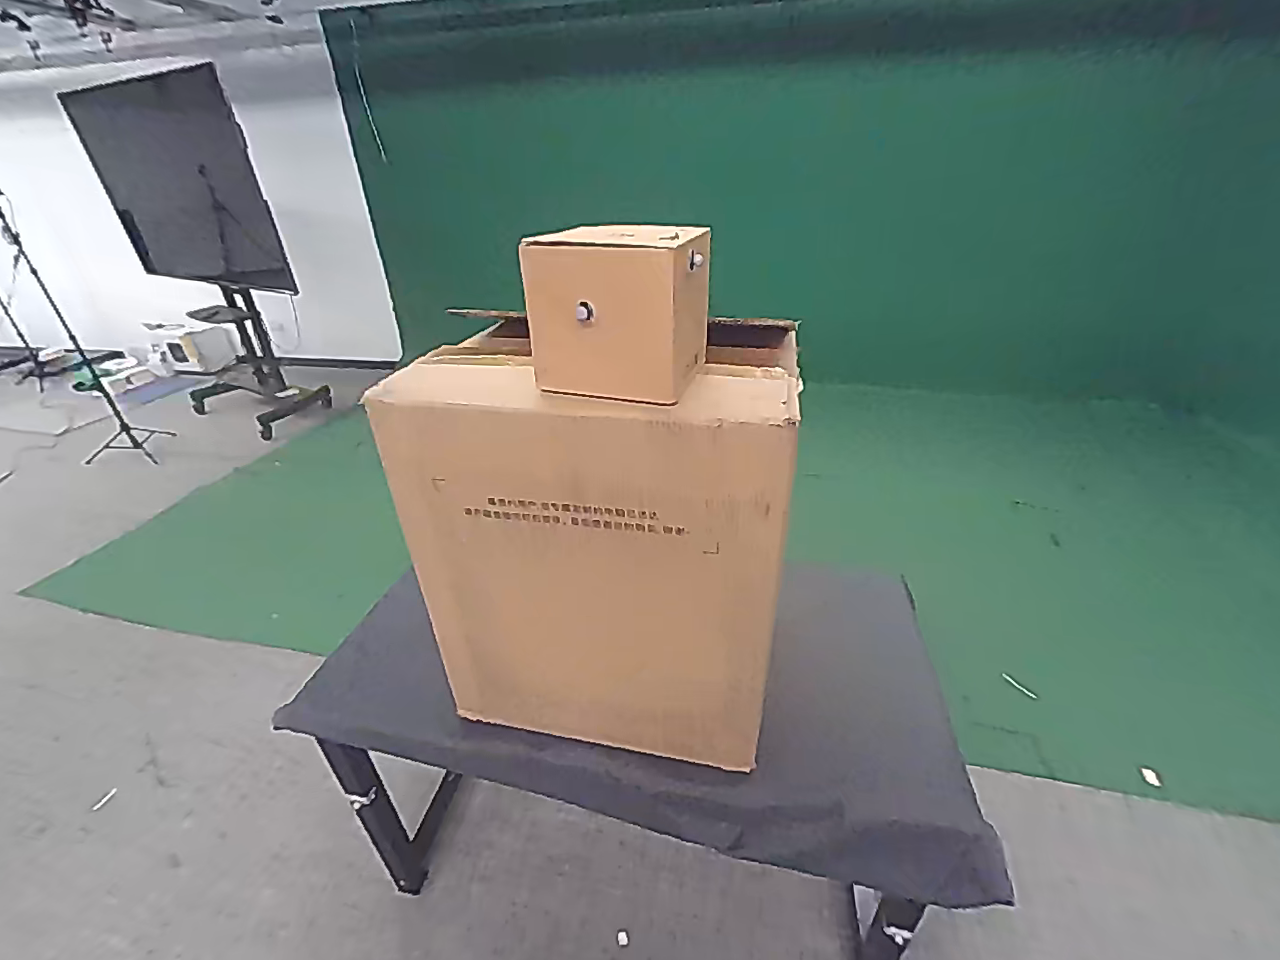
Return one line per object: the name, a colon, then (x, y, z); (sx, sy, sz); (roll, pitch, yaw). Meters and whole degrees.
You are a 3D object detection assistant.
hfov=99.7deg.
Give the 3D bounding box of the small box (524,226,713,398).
small box: (-0.016, -0.209, 0.660); (0.179, 0.176, 0.168); (9, 33, 17)
